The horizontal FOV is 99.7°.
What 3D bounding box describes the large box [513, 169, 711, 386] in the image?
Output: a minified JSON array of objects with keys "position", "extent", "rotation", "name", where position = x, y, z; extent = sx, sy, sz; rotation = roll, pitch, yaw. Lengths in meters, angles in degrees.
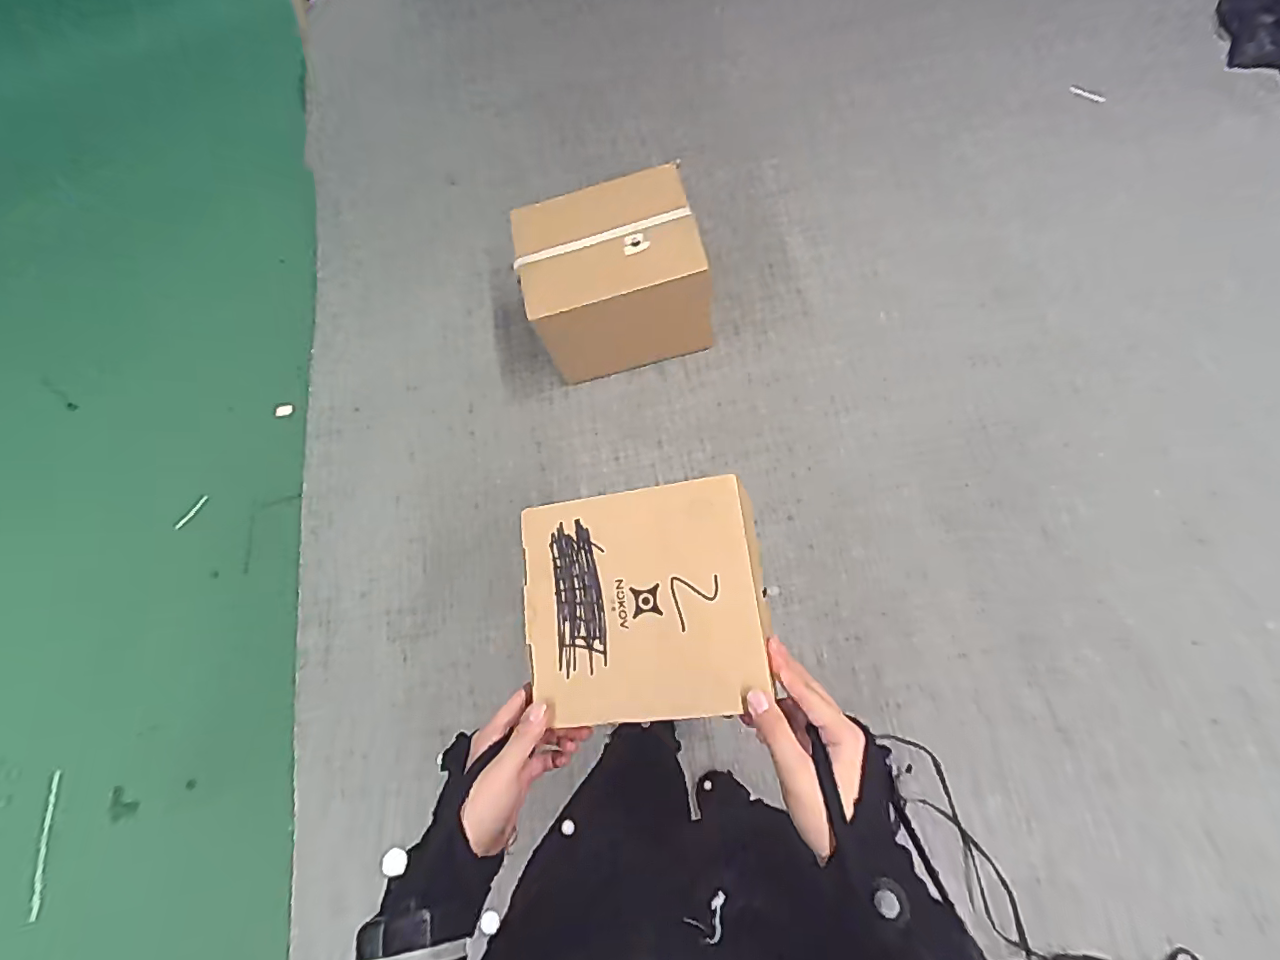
[{"position":[-0.056,-0.480,1.343],"extent":[0.408,0.320,0.320],"rotation":[-14,71,4],"name":"large box"}]
